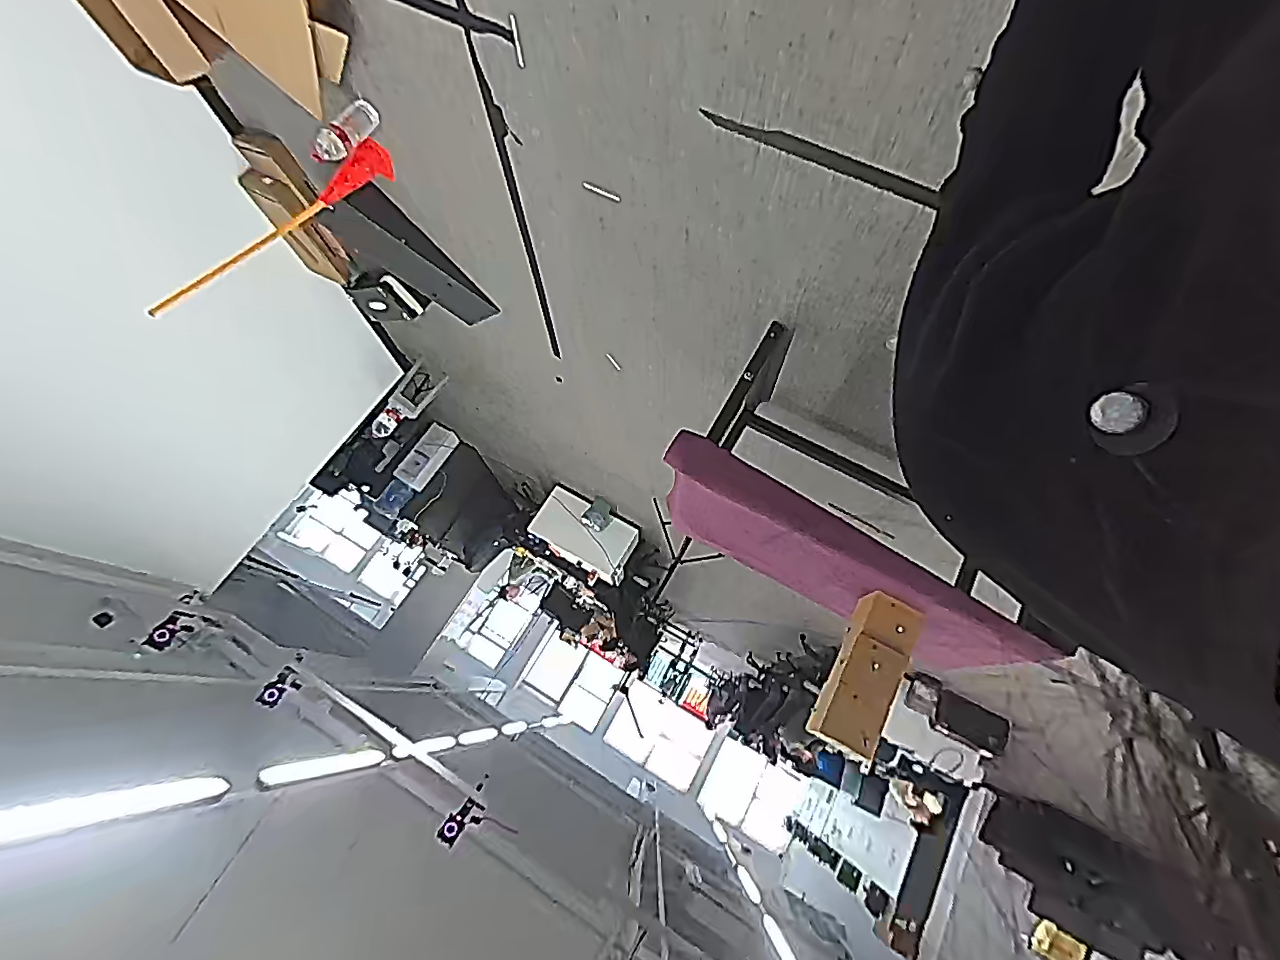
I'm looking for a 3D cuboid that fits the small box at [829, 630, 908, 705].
[{"bbox_3d":[0.740,0.604,1.748,0.168,0.176,0.179,26,161,16],"label":"small box"}]

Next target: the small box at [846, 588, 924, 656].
[{"bbox_3d":[0.825,0.482,1.818,0.168,0.176,0.179,28,162,12],"label":"small box"}]
